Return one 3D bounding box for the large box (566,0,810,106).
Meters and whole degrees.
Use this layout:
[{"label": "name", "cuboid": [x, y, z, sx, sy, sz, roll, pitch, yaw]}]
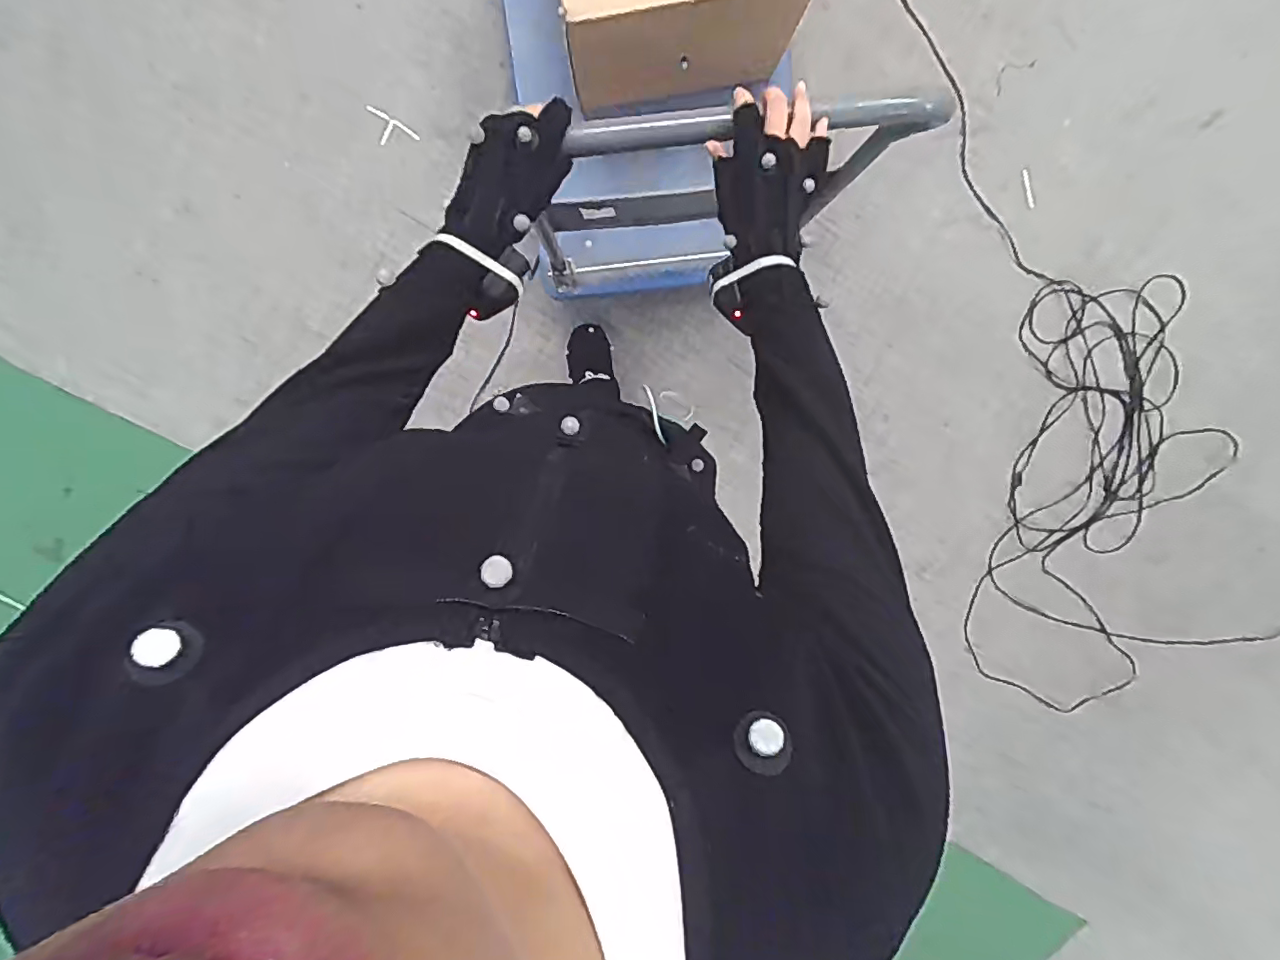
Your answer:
[{"label": "large box", "cuboid": [0.062, -0.924, 0.950, 0.408, 0.320, 0.320, -9, 102, 1]}]
